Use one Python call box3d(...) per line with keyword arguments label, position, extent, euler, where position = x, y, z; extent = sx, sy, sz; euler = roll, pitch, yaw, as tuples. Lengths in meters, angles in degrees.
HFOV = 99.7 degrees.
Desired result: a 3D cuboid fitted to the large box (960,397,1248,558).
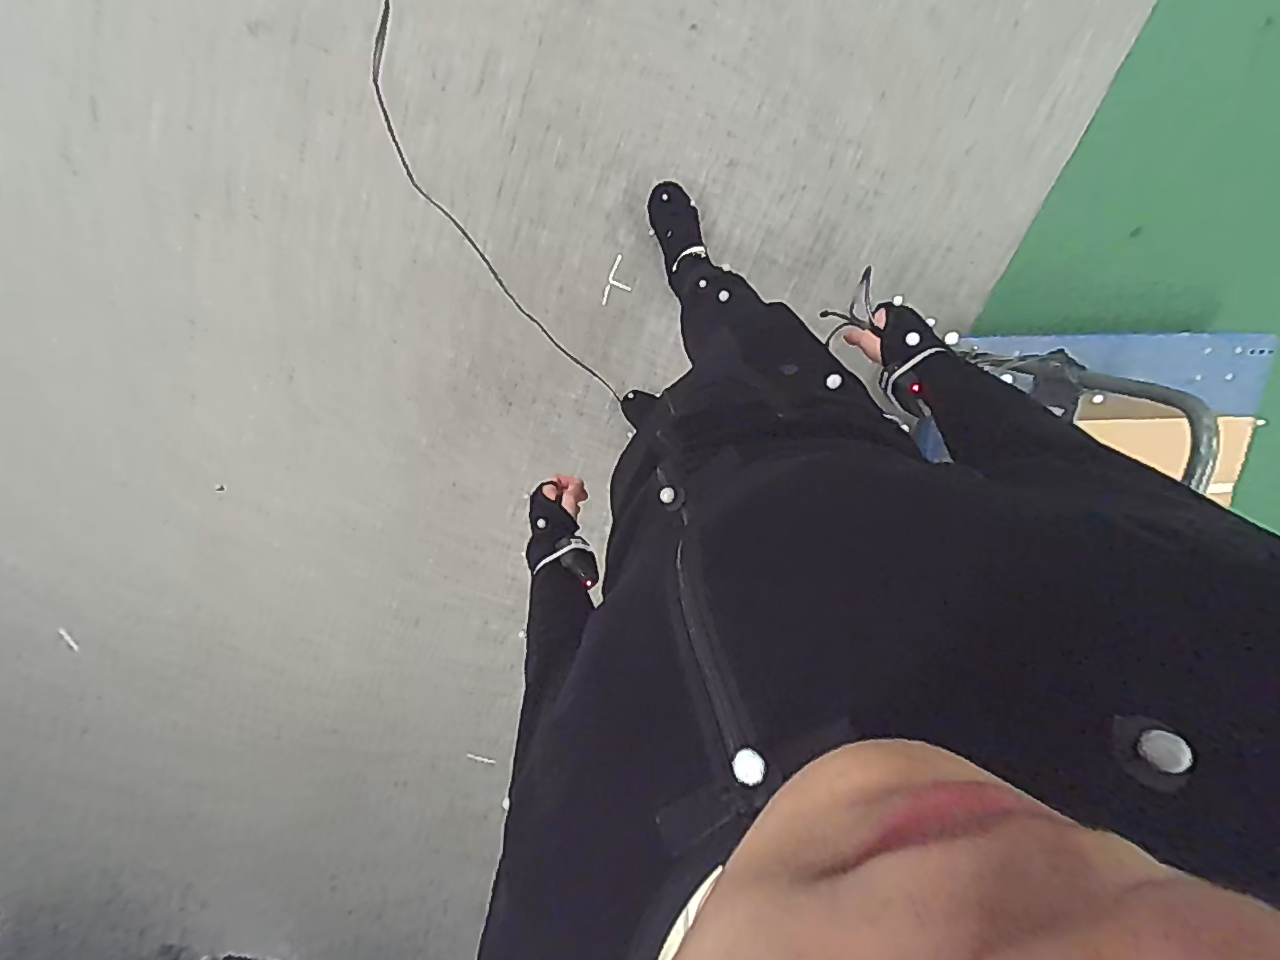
box3d(label="large box", position=(1.074, -0.024, 1.312), extent=(0.408, 0.320, 0.320), euler=(-2, 109, -2))
